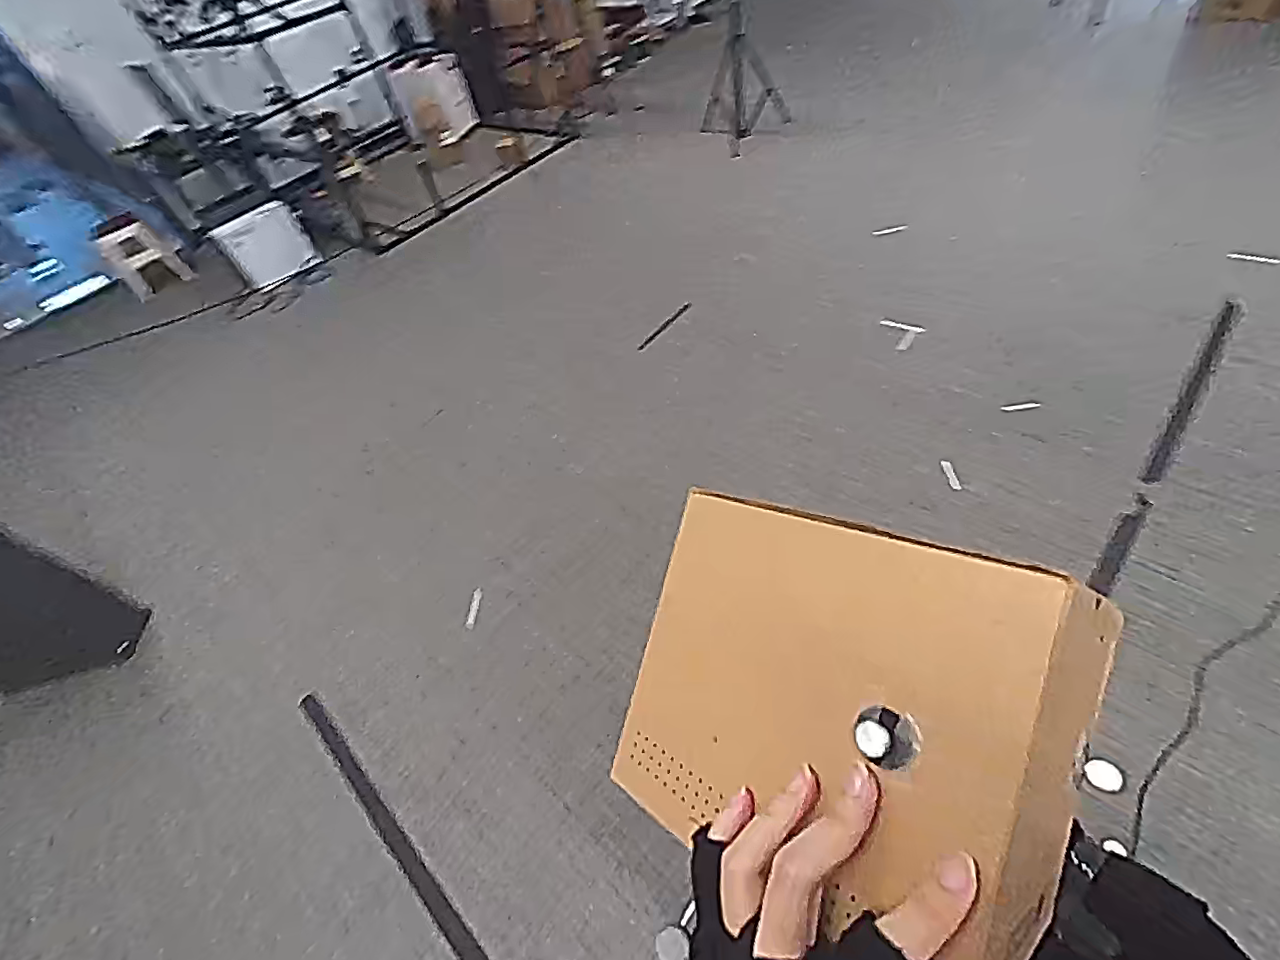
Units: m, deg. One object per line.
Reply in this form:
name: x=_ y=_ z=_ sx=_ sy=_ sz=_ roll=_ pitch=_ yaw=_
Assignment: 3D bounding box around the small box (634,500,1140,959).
small box: x=0.125 y=0.122 z=0.291 sx=0.179 sy=0.168 sz=0.176 roll=14 pitch=86 yaw=48
